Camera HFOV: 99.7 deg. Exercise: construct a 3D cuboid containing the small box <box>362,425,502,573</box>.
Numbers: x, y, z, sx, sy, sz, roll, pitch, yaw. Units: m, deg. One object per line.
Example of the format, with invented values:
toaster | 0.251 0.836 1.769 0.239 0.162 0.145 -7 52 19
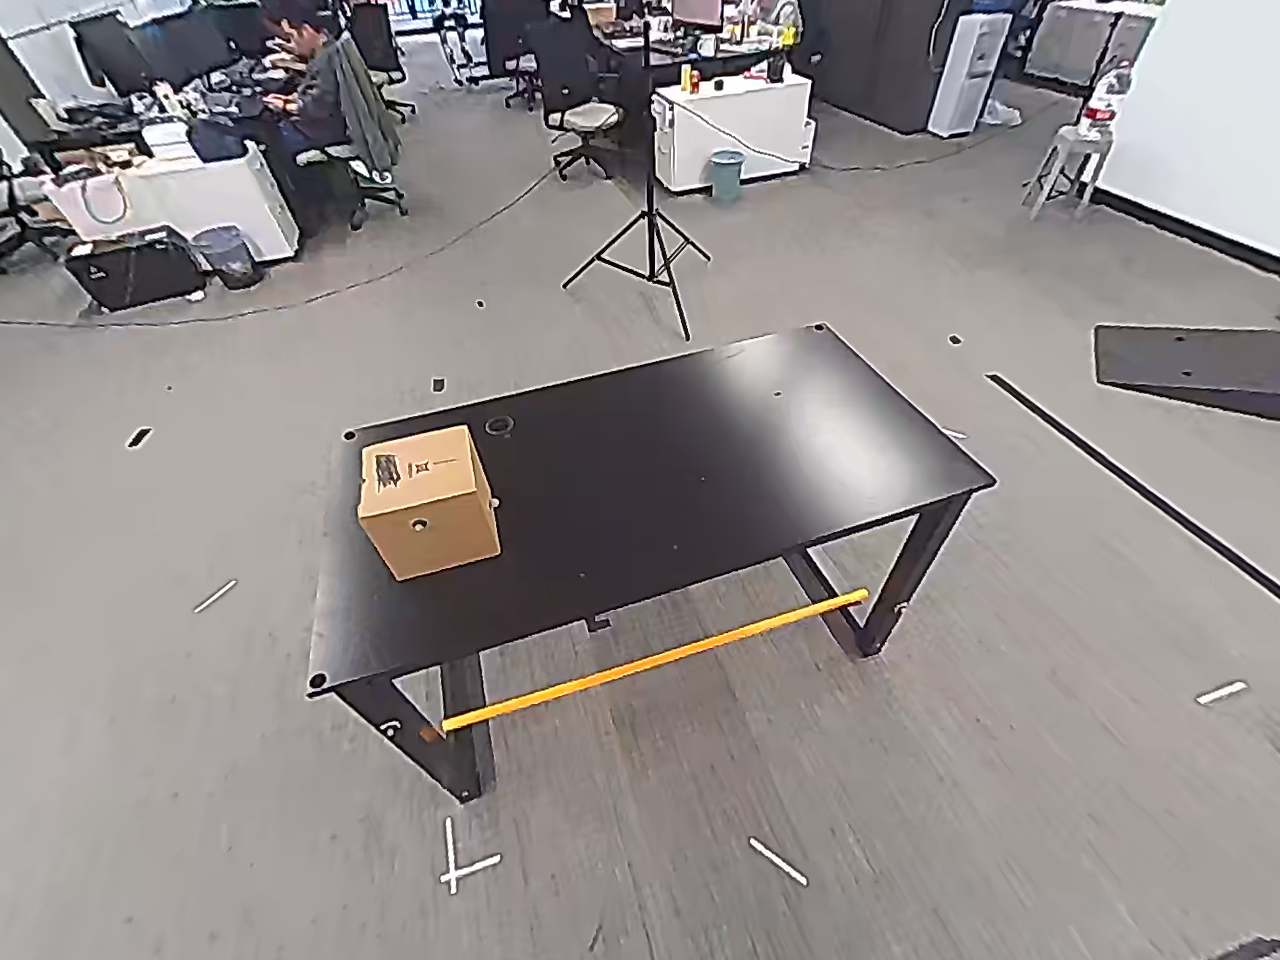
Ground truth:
small box | -0.350 0.036 0.928 0.179 0.176 0.168 -14 48 -10
